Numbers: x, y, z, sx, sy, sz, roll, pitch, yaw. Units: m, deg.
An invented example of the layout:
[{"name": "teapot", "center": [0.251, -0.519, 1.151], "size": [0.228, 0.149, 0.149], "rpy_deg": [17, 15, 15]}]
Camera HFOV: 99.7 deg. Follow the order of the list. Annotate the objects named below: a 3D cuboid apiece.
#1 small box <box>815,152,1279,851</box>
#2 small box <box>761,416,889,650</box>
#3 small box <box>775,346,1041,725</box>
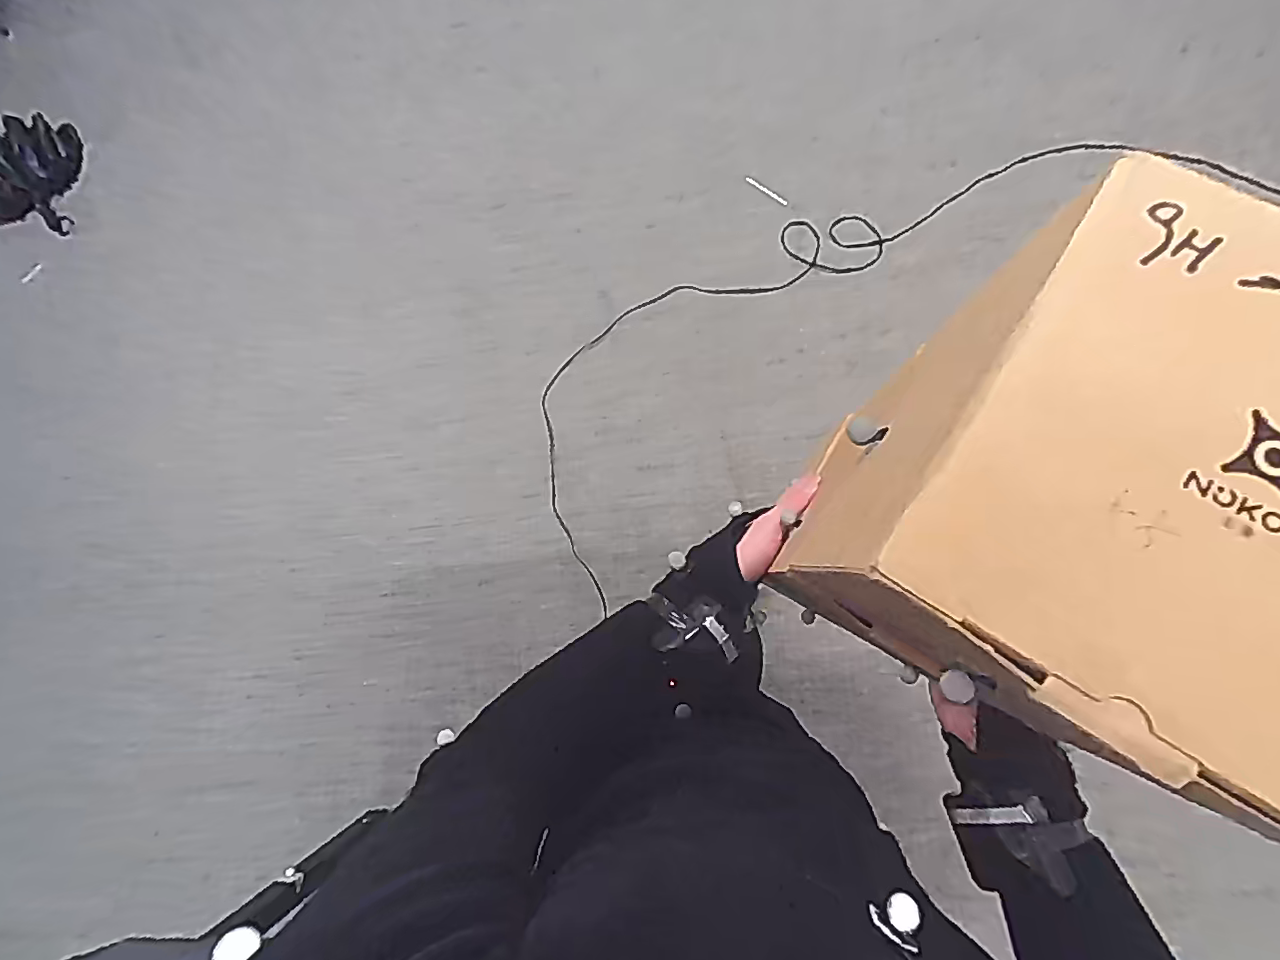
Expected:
[{"name": "small box", "center": [0.197, 0.014, 0.242], "size": [0.168, 0.176, 0.179], "rpy_deg": [33, 87, 10]}, {"name": "small box", "center": [0.237, 0.063, 0.562], "size": [0.168, 0.176, 0.179], "rpy_deg": [29, 86, 11]}, {"name": "small box", "center": [0.215, 0.040, 0.403], "size": [0.168, 0.176, 0.179], "rpy_deg": [30, 84, 10]}]
